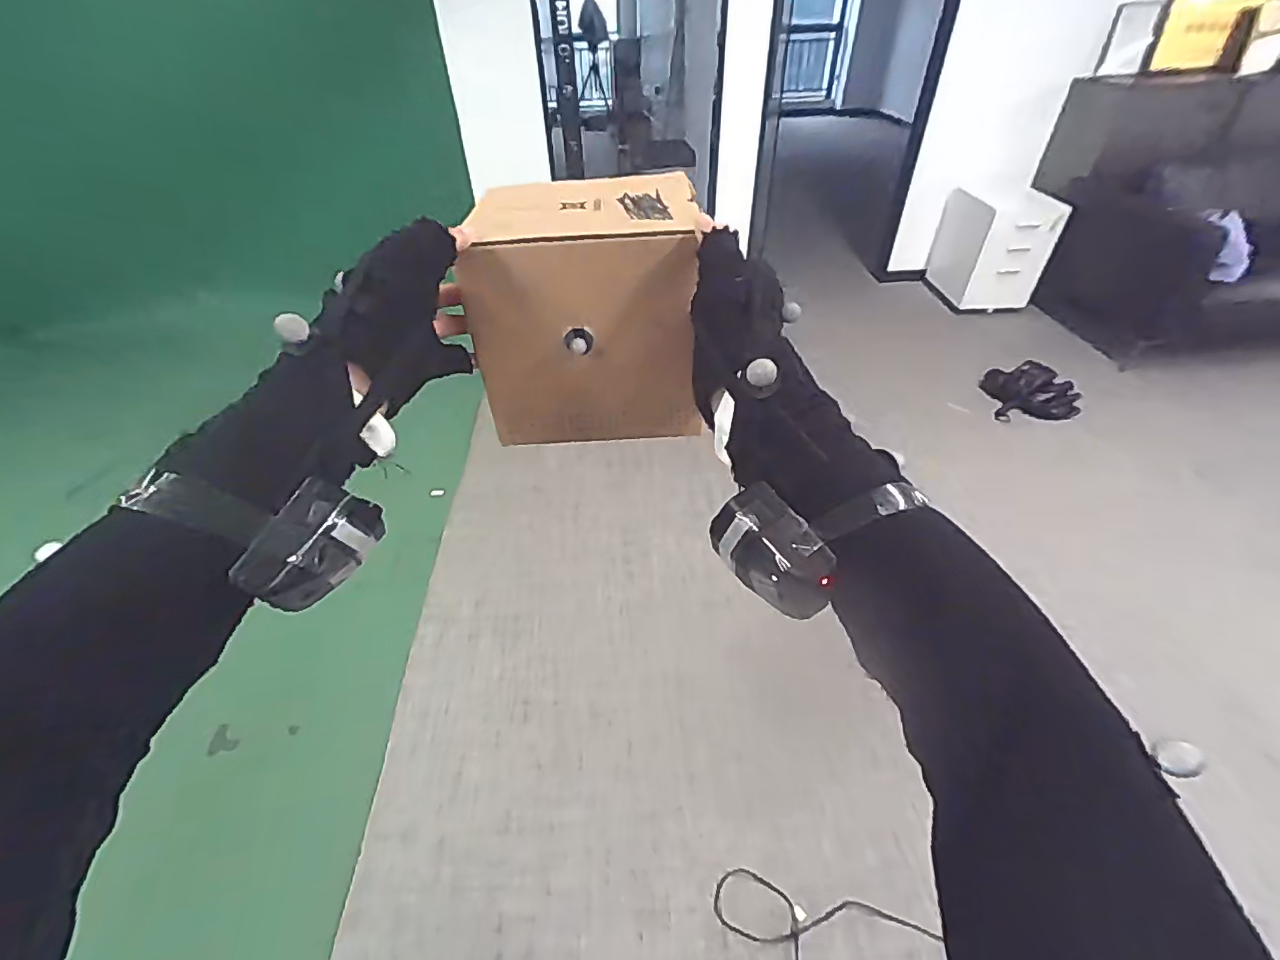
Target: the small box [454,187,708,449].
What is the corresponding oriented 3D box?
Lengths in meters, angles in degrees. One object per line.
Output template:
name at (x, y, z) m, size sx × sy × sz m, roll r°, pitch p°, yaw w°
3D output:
small box at (-0.038, -0.143, 0.478) m, size 0.179 × 0.176 × 0.168 m, roll -4°, pitch 39°, yaw 1°
